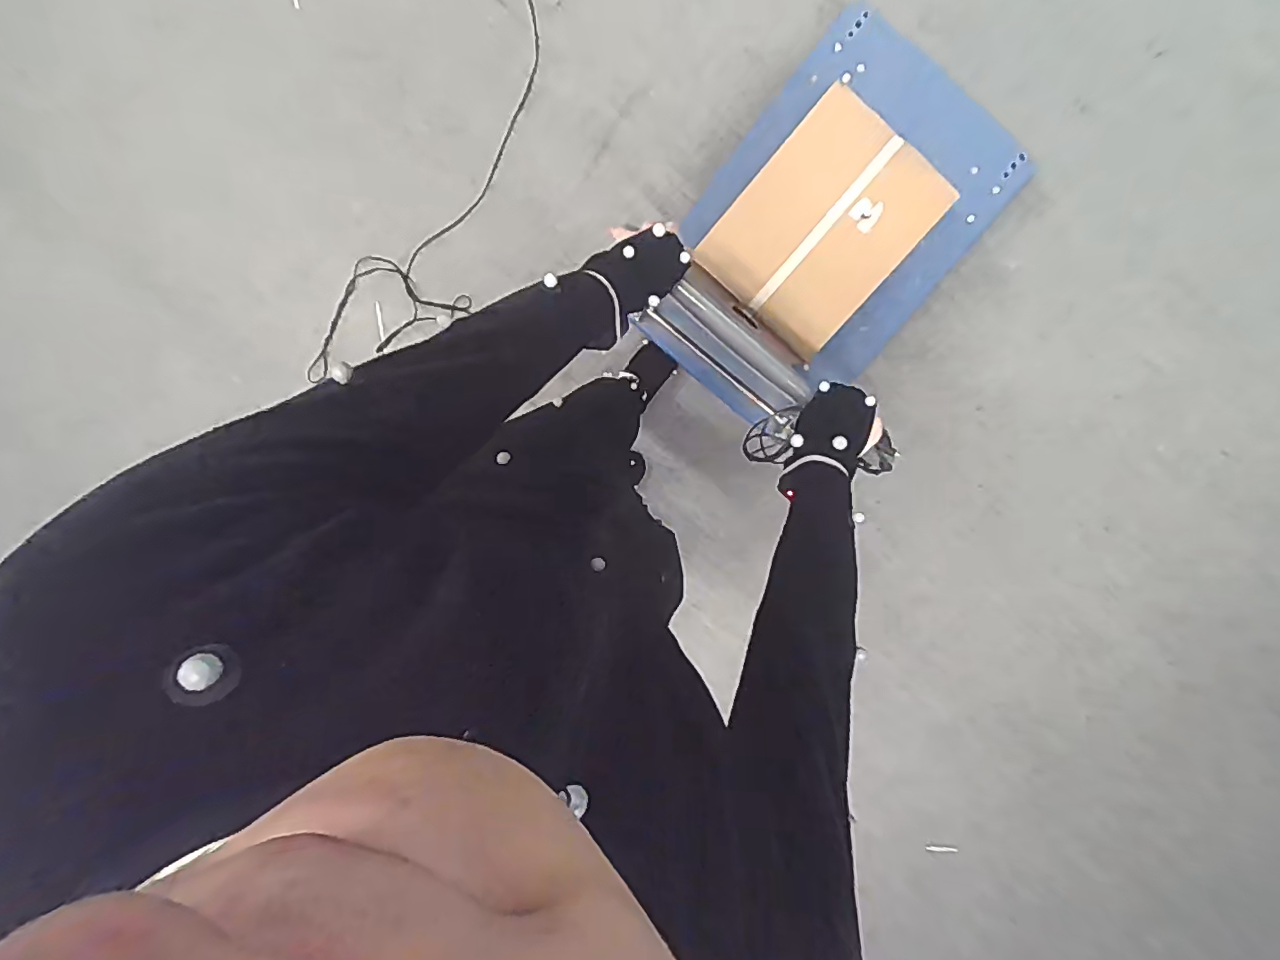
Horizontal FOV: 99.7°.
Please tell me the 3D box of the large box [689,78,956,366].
[{"bbox_3d":[0.348,-0.502,1.157,0.320,0.320,0.408,41,99,-5],"label":"large box"}]
